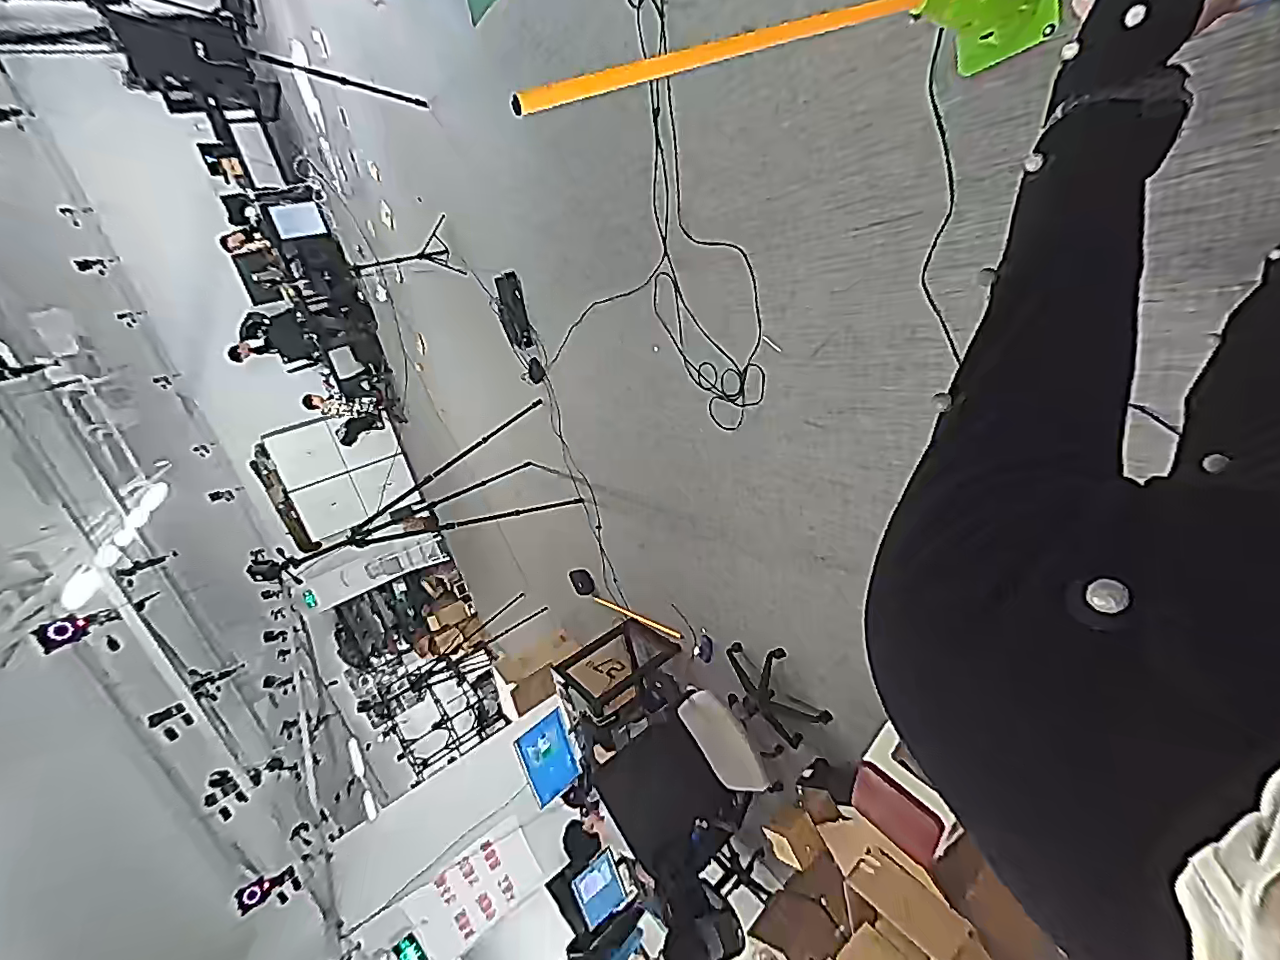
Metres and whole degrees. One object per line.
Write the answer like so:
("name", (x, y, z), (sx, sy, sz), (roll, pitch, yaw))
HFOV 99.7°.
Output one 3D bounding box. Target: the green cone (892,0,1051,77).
("green cone", (0.635, -0.962, 1.091), (0.202, 0.368, 0.200), (12, 123, 56))
